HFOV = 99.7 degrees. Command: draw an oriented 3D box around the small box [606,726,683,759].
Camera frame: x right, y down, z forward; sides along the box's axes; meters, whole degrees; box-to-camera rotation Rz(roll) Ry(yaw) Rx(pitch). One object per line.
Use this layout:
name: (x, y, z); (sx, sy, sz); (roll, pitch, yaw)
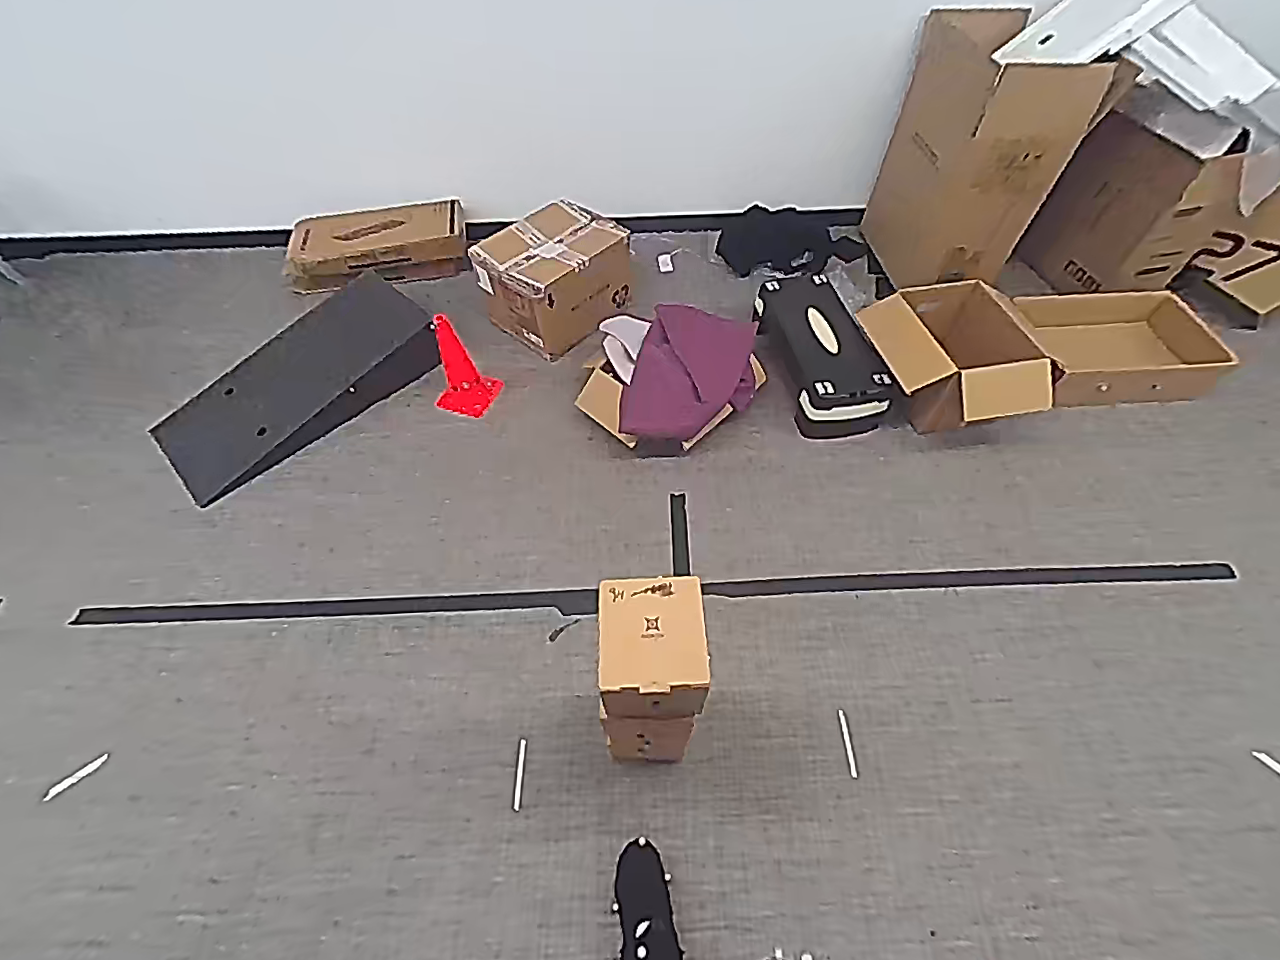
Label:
small box: (0.018, 0.562, 1.293); (0.179, 0.176, 0.168); (2, 55, 2)

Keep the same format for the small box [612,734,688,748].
small box: (0.022, 0.463, 1.162); (0.168, 0.176, 0.179); (1, 55, 2)

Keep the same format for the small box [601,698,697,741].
small box: (0.020, 0.381, 1.021); (0.168, 0.176, 0.179); (1, 56, 3)

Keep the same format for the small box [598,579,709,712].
small box: (0.022, 0.279, 0.892); (0.168, 0.176, 0.179); (-2, 55, 0)
